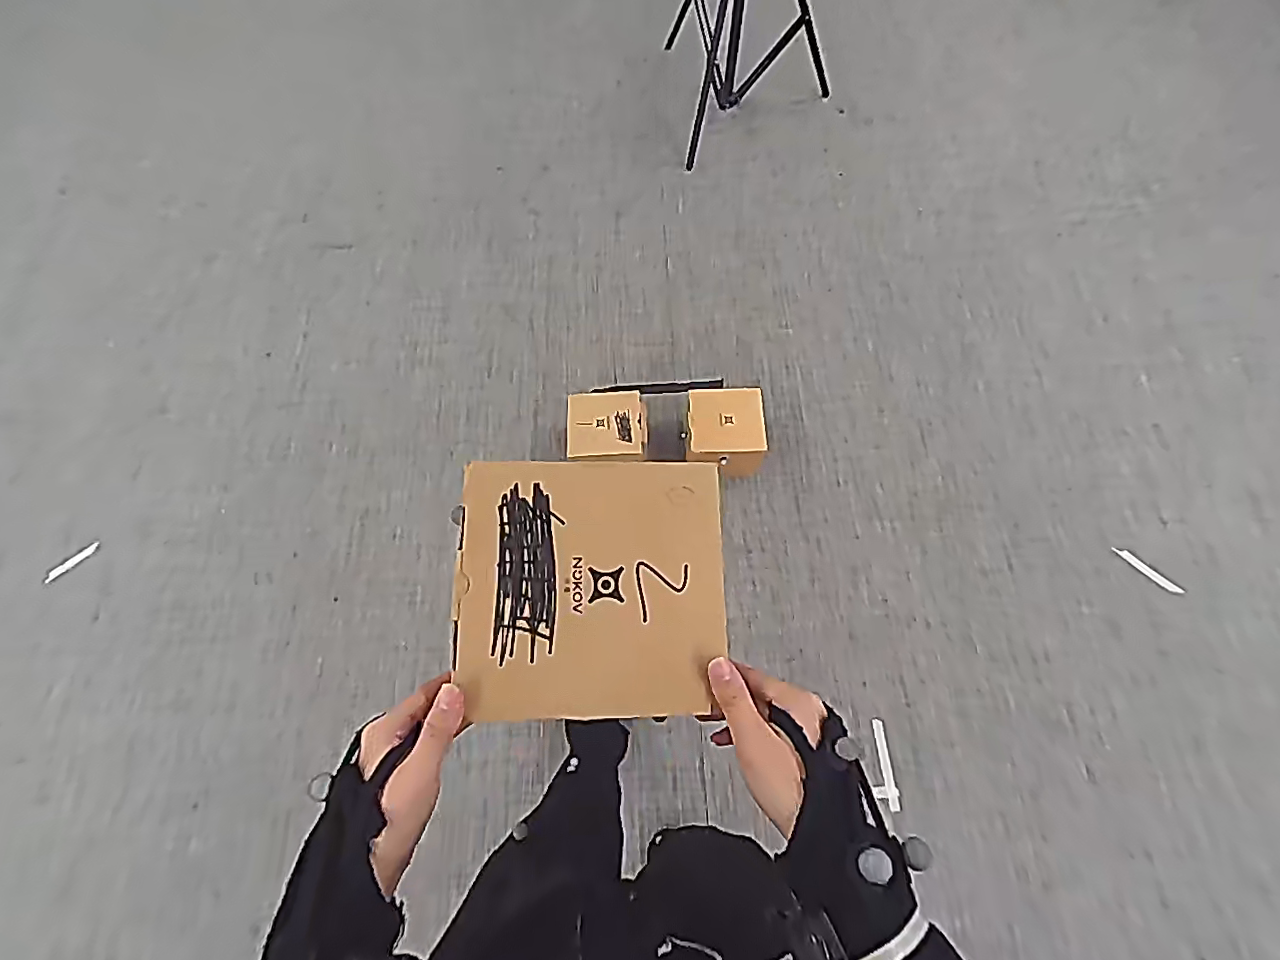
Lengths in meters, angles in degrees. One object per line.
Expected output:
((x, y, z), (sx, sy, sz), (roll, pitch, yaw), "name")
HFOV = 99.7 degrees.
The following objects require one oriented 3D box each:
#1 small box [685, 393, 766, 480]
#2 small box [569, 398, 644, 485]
((0.206, -0.103, 1.344), (0.179, 0.176, 0.168), (-2, 69, 2), "small box")
((-0.078, -0.092, 1.347), (0.179, 0.176, 0.168), (-3, 69, 1), "small box")
